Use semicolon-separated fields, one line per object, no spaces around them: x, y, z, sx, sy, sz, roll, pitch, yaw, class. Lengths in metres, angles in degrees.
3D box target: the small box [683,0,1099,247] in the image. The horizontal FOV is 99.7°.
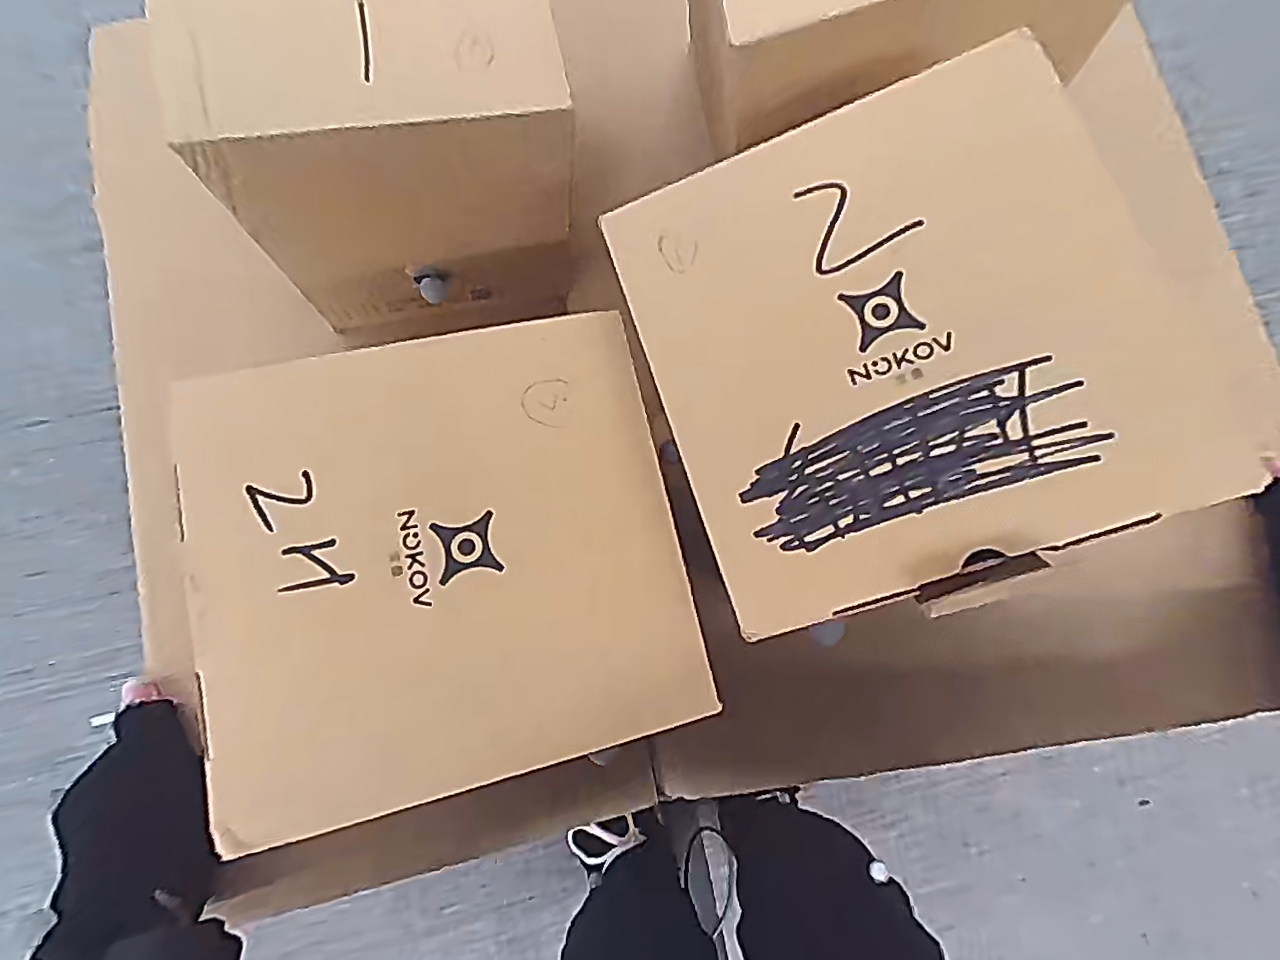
0.113;-0.252;0.291;0.168;0.176;0.179;-11;80;10;small box
